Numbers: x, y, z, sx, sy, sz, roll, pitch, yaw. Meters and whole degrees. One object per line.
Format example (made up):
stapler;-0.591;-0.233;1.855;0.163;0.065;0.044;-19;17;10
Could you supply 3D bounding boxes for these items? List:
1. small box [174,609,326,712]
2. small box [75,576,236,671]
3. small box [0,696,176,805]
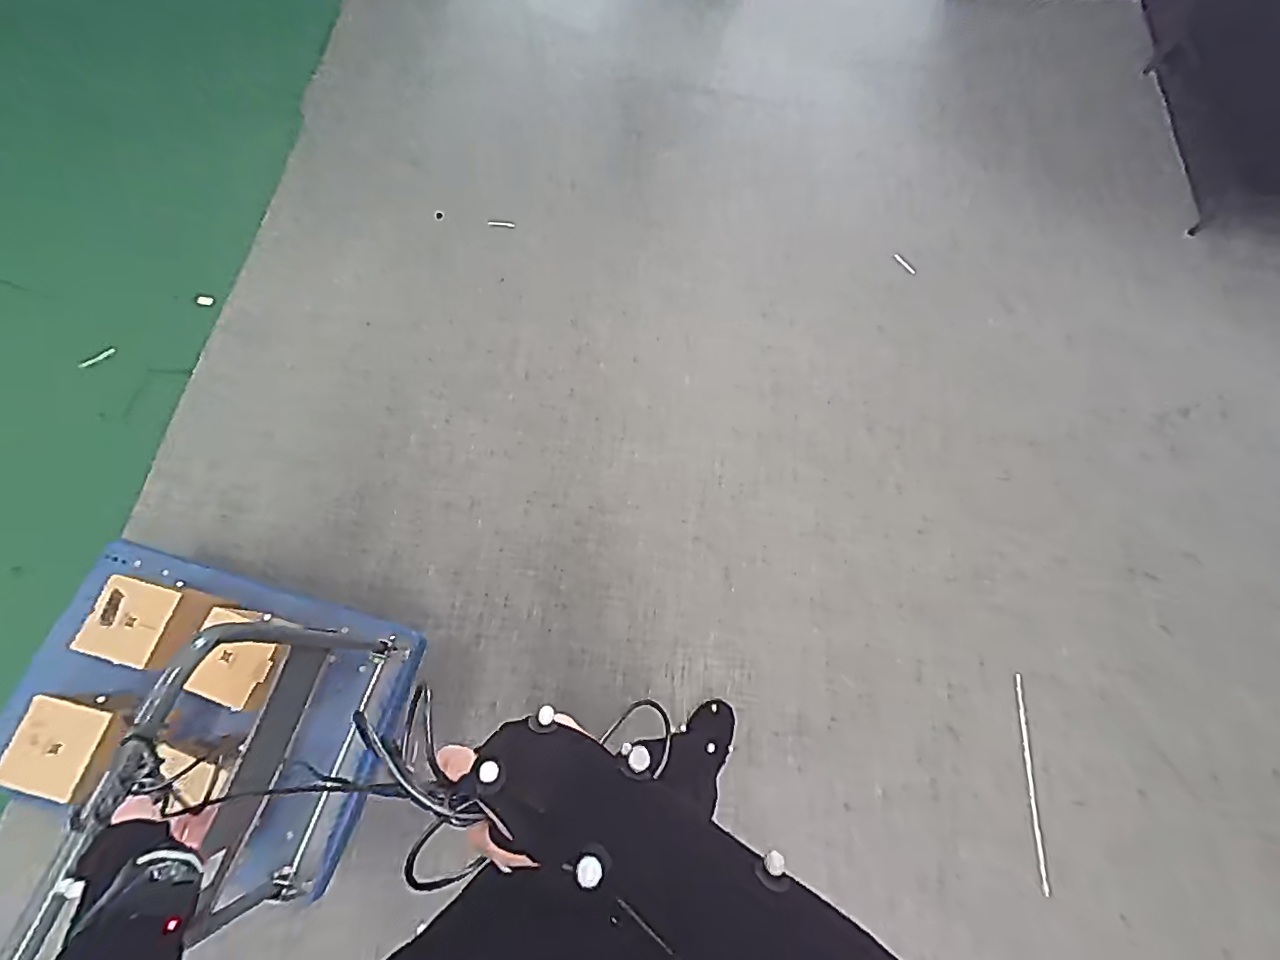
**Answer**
small box;-0.854;0.402;1.204;0.179;0.176;0.168;17;71;6
small box;-1.088;0.331;1.231;0.179;0.176;0.168;14;72;5
small box;-1.160;0.563;1.150;0.179;0.176;0.168;12;70;5
